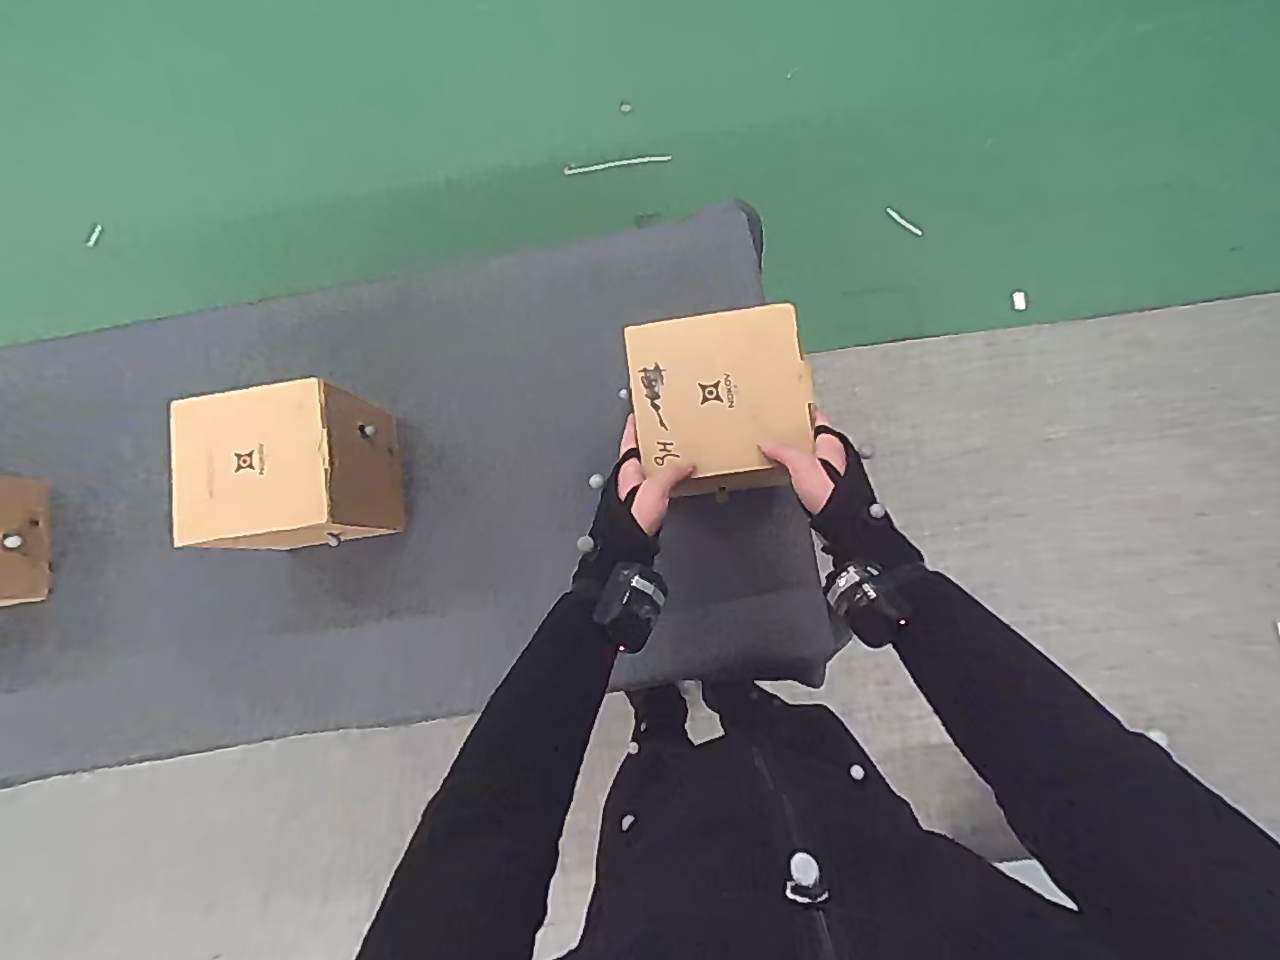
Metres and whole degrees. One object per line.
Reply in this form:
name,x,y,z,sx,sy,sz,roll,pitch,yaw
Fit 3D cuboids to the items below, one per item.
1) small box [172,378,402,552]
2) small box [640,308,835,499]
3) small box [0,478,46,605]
small box,-0.405,-0.007,0.649,0.179,0.176,0.168,-9,81,3
small box,0.095,-0.073,0.606,0.179,0.176,0.168,-7,83,2
small box,-0.902,0.083,0.658,0.179,0.176,0.168,-8,82,0
